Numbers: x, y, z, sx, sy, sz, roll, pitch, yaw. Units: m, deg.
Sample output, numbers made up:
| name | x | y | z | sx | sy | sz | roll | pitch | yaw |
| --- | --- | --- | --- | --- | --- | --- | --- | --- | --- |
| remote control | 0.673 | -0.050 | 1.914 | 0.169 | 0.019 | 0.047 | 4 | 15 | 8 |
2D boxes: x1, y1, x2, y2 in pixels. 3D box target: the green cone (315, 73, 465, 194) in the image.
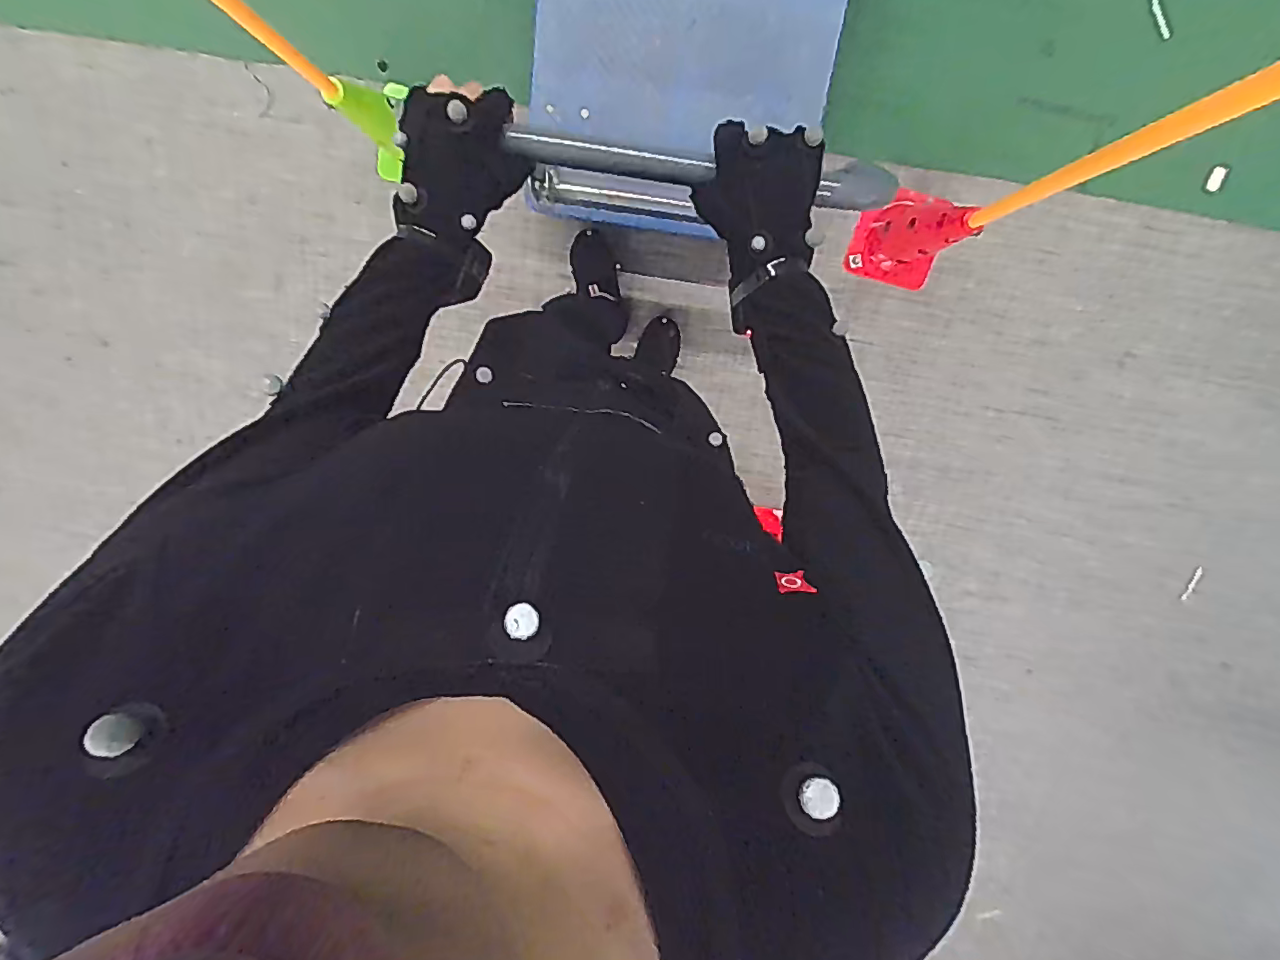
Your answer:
| name | x | y | z | sx | sy | sz | roll | pitch | yaw |
| --- | --- | --- | --- | --- | --- | --- | --- | --- | --- |
| green cone | -0.526 | -0.742 | 1.102 | 0.202 | 0.368 | 0.200 | 14 | 109 | 0 |
